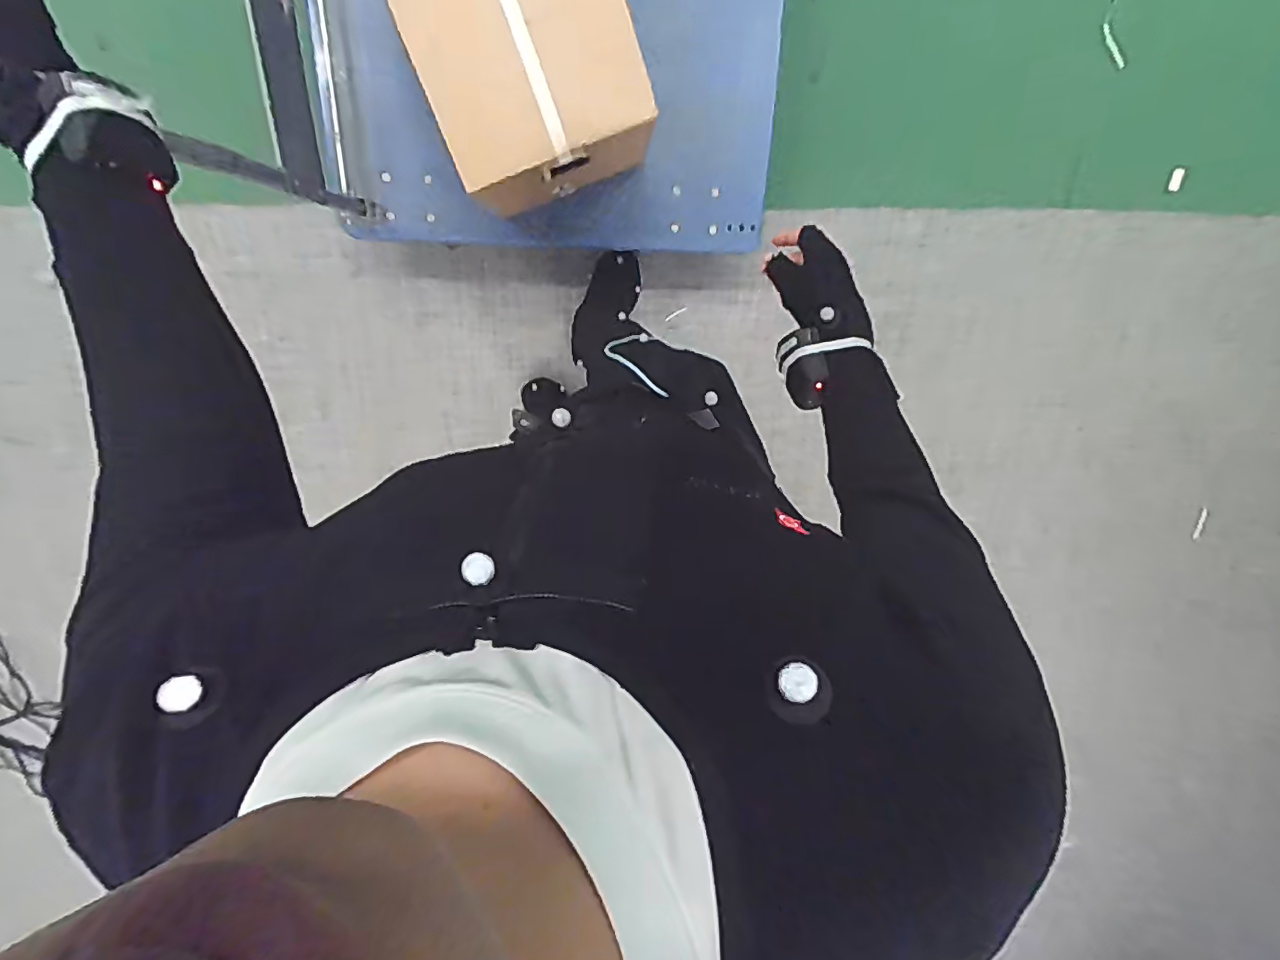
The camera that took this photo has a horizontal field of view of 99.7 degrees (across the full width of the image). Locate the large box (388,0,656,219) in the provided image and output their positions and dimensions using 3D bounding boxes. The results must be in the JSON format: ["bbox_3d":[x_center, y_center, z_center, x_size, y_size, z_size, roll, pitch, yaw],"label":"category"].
[{"bbox_3d":[-0.188,-0.714,0.900,0.320,0.320,0.408,-20,108,4],"label":"large box"}]
